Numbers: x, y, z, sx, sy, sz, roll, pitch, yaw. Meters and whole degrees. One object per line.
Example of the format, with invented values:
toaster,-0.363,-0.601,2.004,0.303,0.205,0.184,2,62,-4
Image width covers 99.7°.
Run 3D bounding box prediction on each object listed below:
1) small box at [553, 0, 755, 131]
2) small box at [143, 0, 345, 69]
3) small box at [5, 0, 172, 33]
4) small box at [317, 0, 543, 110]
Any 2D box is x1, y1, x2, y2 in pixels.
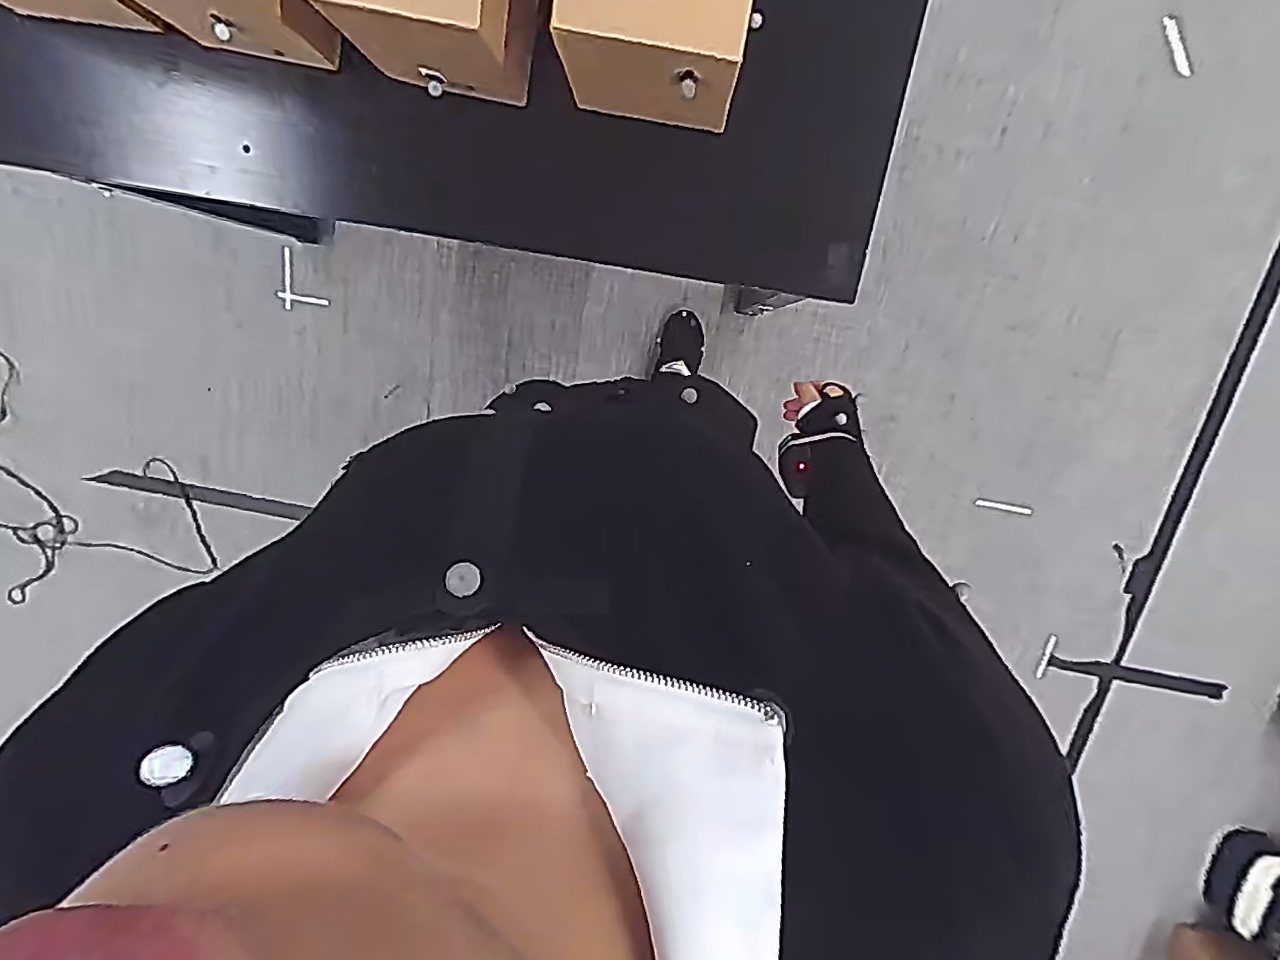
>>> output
small box,0.023,-0.484,0.549,0.179,0.176,0.168,11,103,0
small box,-0.423,-0.563,0.550,0.168,0.176,0.179,11,104,0
small box,-0.635,-0.599,0.549,0.179,0.176,0.168,7,104,-1
small box,-0.200,-0.522,0.553,0.168,0.176,0.179,11,105,1
